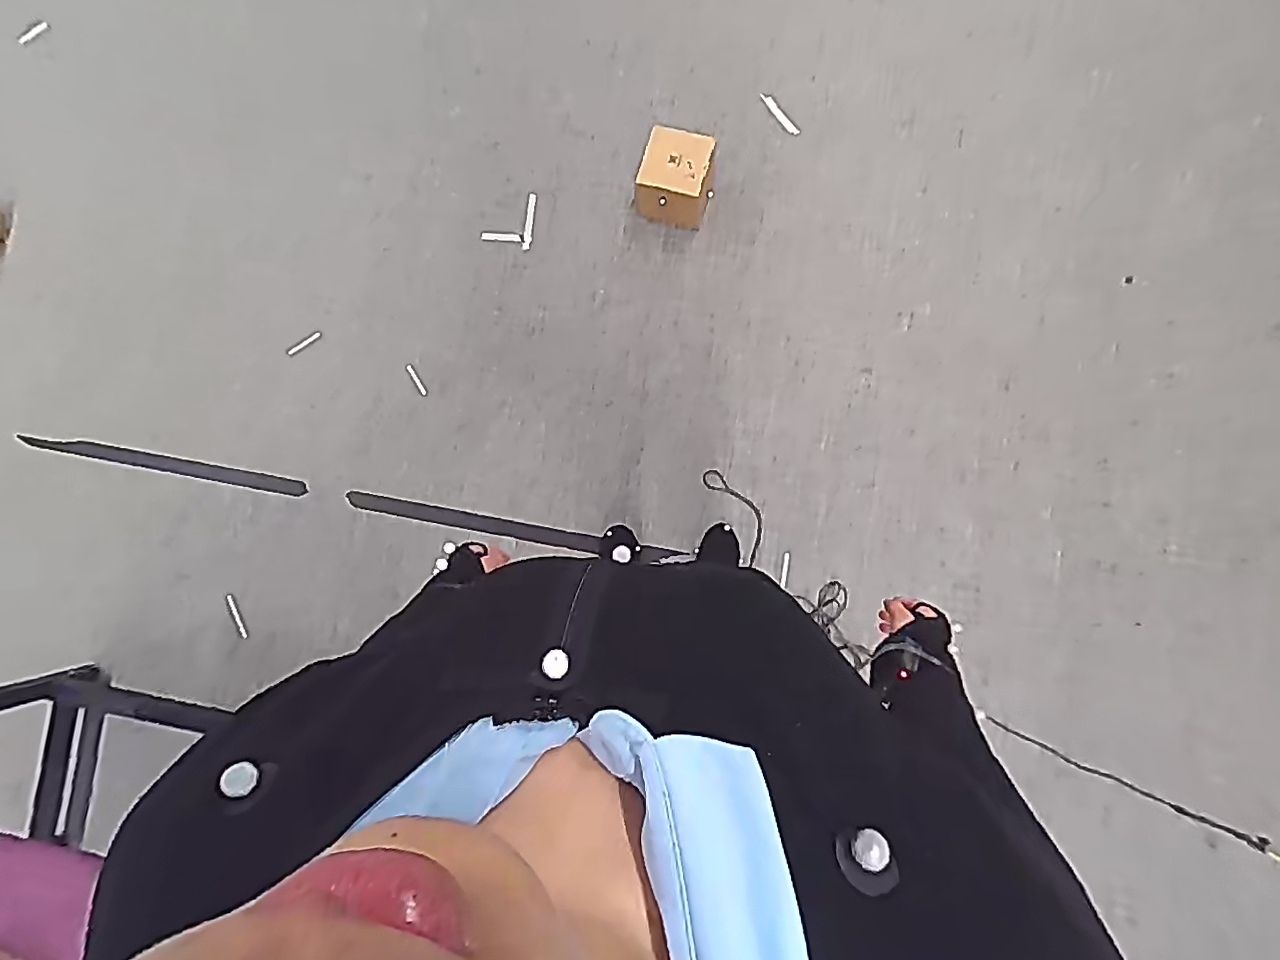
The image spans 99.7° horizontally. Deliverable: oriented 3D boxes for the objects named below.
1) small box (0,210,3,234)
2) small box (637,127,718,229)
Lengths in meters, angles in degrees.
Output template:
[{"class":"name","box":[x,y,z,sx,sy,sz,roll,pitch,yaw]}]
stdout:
[{"class":"small box","box":[-2.273,-0.853,1.778,0.179,0.176,0.168,2,86,7]},{"class":"small box","box":[0.106,-0.827,1.497,0.179,0.176,0.168,18,89,7]}]
